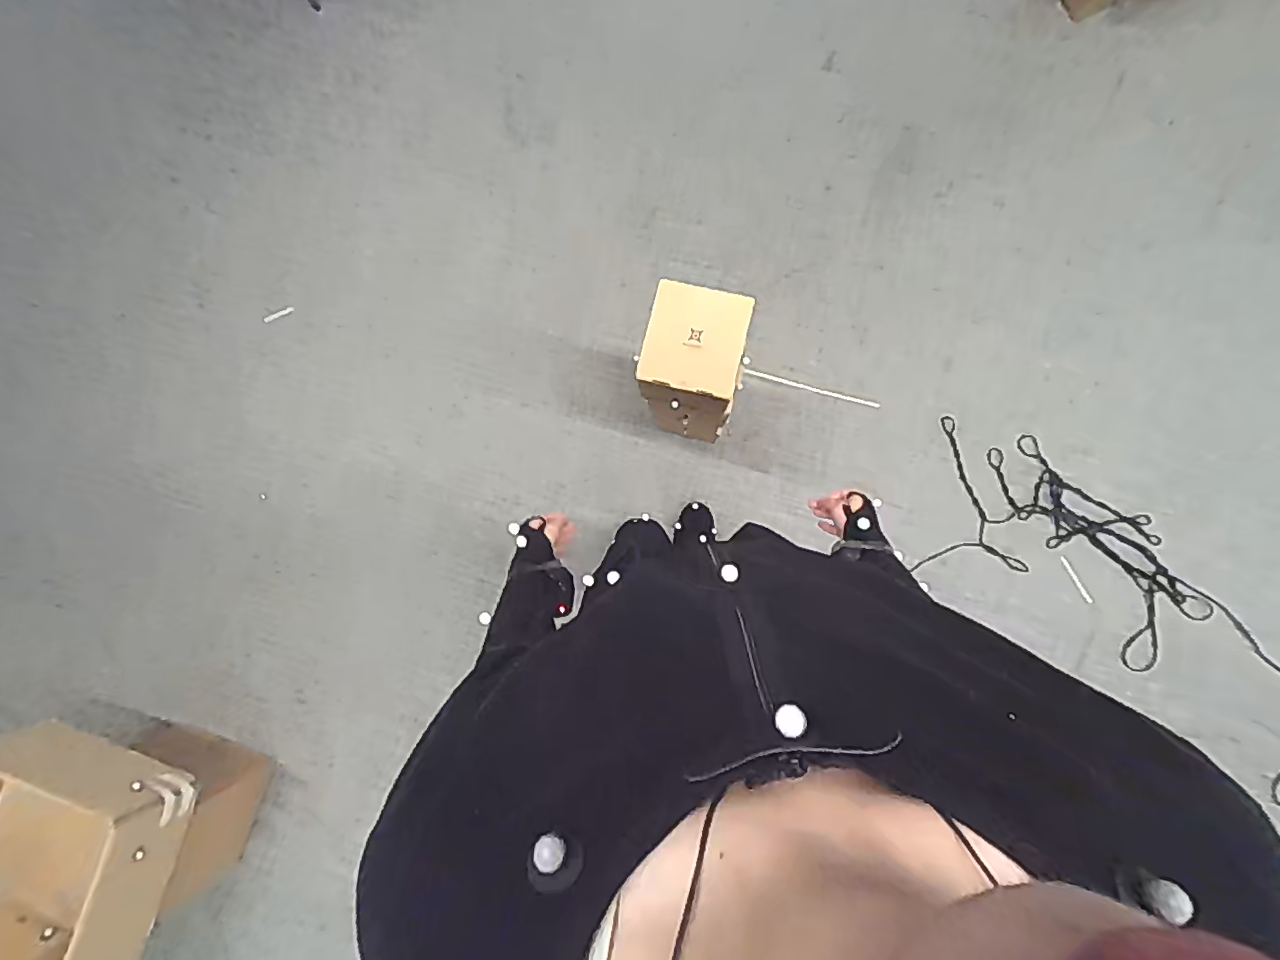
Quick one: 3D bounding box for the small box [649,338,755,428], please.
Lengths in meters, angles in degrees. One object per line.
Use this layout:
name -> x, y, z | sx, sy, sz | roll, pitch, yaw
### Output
small box -> 0.127, -0.213, 1.133 | 0.179, 0.176, 0.168 | 14, 86, 5

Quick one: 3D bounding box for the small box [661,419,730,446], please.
small box -> 0.164, -0.198, 1.458 | 0.179, 0.176, 0.168 | 16, 87, 6

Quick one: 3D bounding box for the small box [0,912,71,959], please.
small box -> -1.268, 0.991, 1.036 | 0.168, 0.176, 0.179 | 19, 86, 6

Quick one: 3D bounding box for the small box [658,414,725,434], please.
small box -> 0.140, -0.215, 1.297 | 0.179, 0.176, 0.168 | 16, 88, 6

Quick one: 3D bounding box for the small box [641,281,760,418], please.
small box -> 0.107, -0.226, 0.971 | 0.168, 0.176, 0.179 | 14, 88, 7
